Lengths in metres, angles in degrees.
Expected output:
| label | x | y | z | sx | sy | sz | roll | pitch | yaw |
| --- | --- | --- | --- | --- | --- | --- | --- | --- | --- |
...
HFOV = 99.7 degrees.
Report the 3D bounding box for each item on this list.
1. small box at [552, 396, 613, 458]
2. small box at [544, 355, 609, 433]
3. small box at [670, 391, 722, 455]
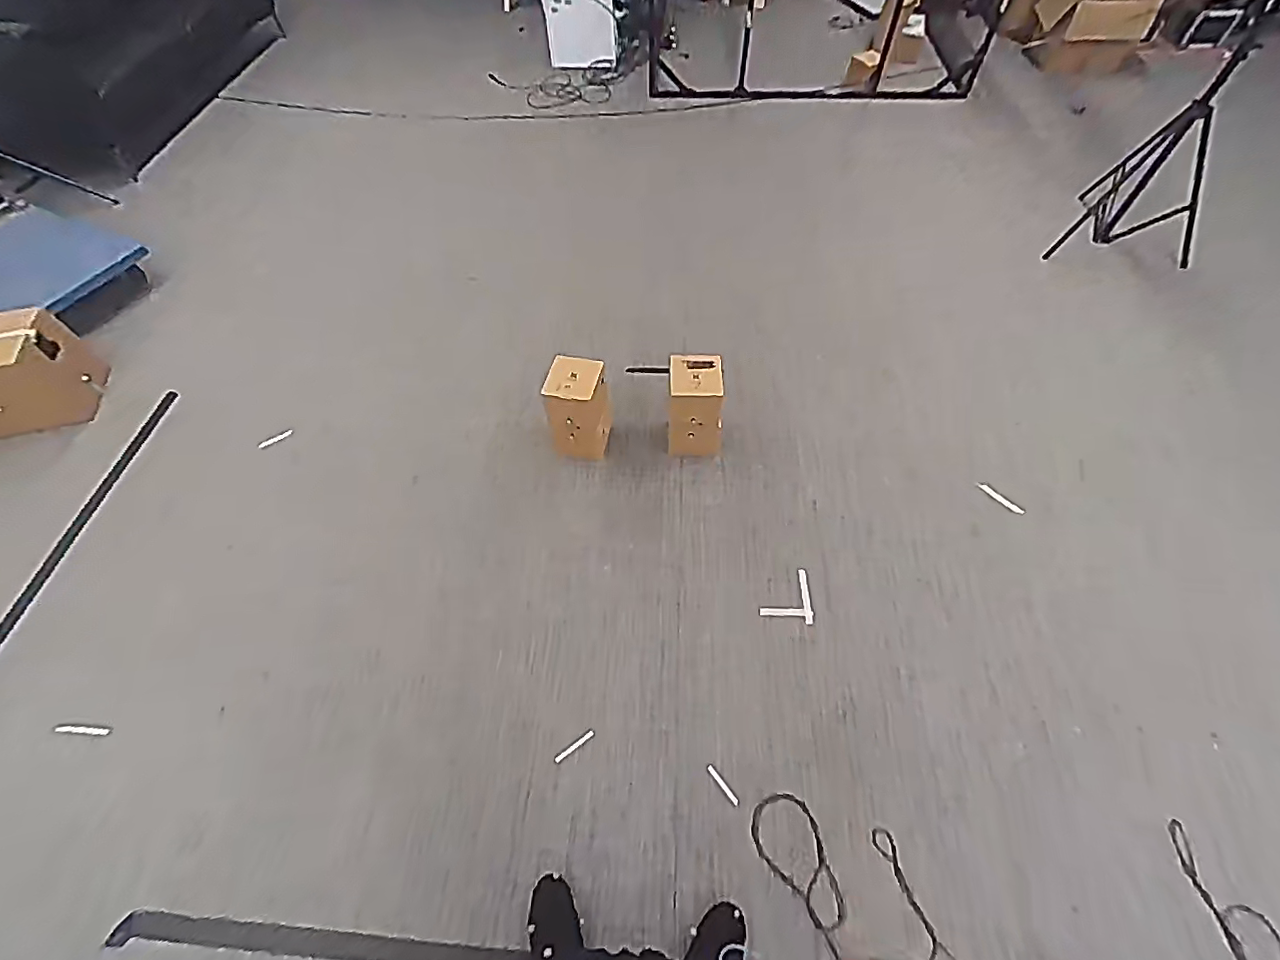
| label | x | y | z | sx | sy | sz | roll | pitch | yaw |
| --- | --- | --- | --- | --- | --- | --- | --- | --- | --- |
| small box | -0.199 | -0.197 | 1.940 | 0.179 | 0.176 | 0.168 | 8 | 58 | 8 |
| small box | -0.203 | -0.285 | 1.800 | 0.168 | 0.176 | 0.179 | 10 | 58 | 9 |
| small box | 0.196 | -0.201 | 1.930 | 0.179 | 0.176 | 0.168 | 2 | 58 | 2 |
